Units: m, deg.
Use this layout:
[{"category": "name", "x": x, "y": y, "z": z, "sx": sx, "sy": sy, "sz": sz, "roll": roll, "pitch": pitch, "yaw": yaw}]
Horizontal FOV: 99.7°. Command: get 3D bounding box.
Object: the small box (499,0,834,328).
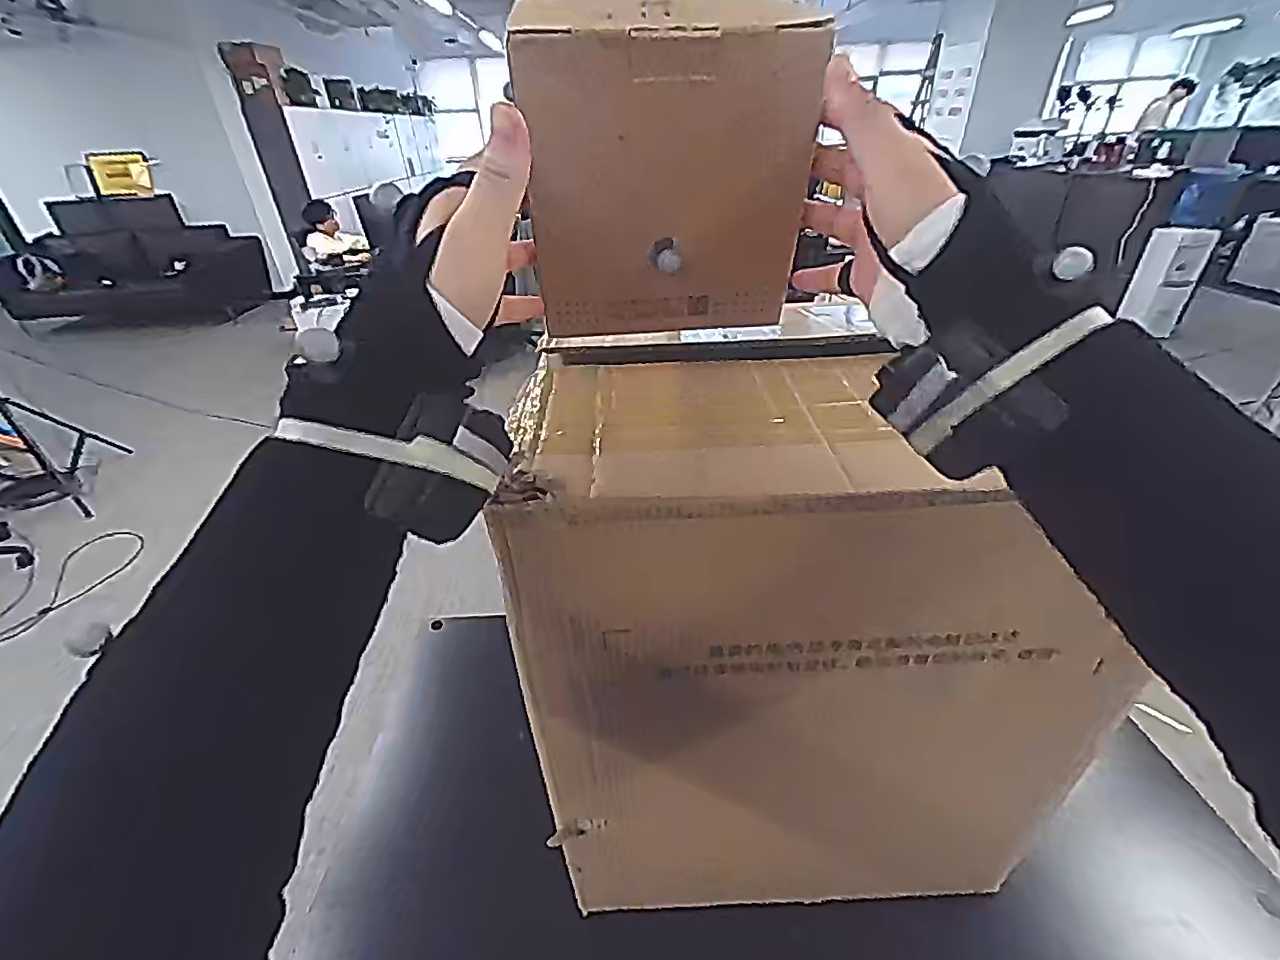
[{"category": "small box", "x": 0.007, "y": -0.224, "z": 0.373, "sx": 0.168, "sy": 0.176, "sz": 0.179, "roll": -5, "pitch": 47, "yaw": -3}]
